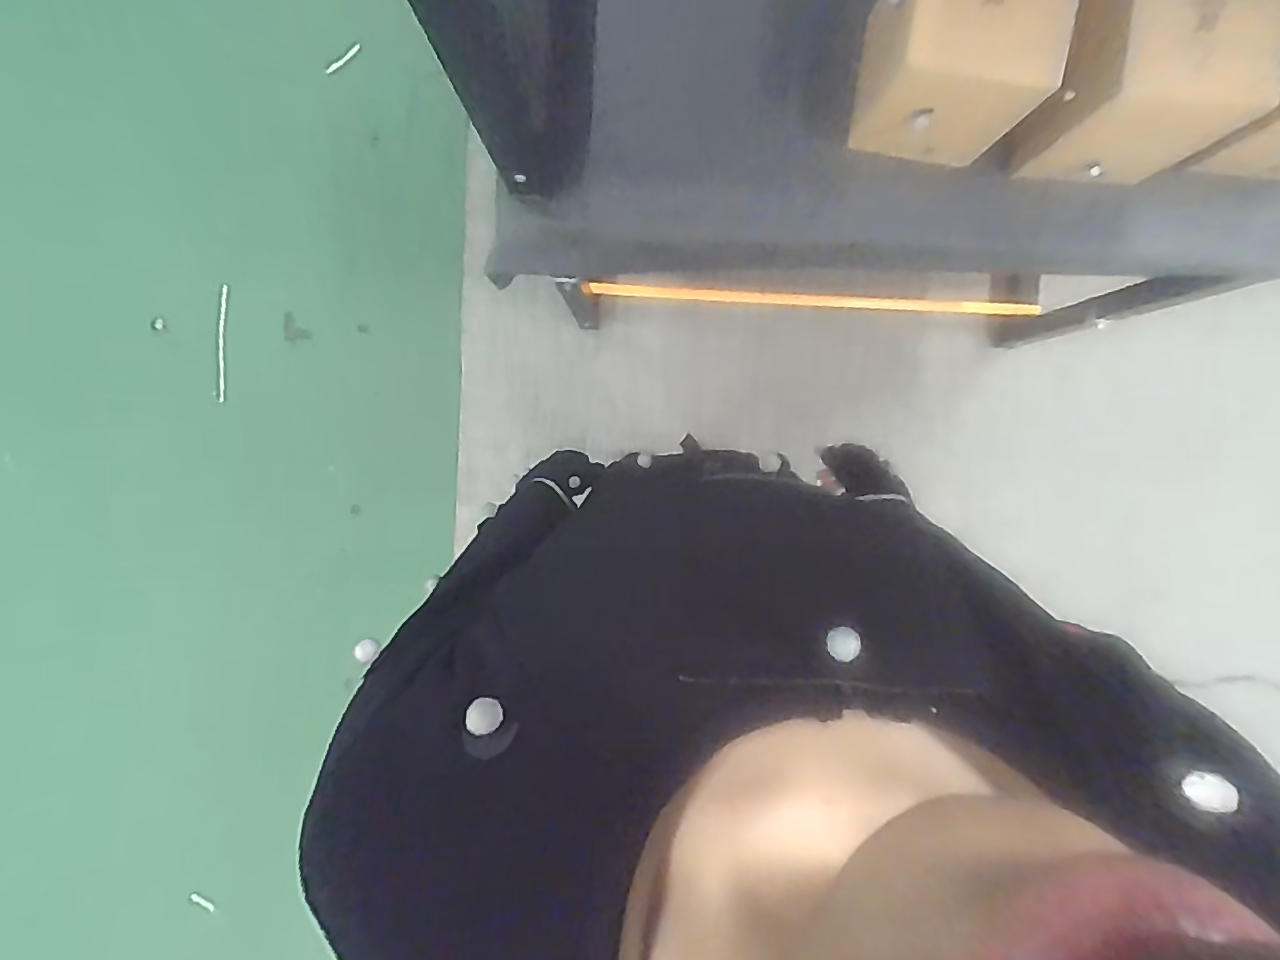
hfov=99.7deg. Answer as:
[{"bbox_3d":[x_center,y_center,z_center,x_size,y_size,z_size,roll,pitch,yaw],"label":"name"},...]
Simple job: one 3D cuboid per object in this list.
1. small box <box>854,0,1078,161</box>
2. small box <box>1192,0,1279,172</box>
[{"bbox_3d":[0.372,-0.513,0.638,0.168,0.176,0.179,9,93,0],"label":"small box"},{"bbox_3d":[0.812,-0.487,0.630,0.168,0.176,0.179,6,93,0],"label":"small box"}]
